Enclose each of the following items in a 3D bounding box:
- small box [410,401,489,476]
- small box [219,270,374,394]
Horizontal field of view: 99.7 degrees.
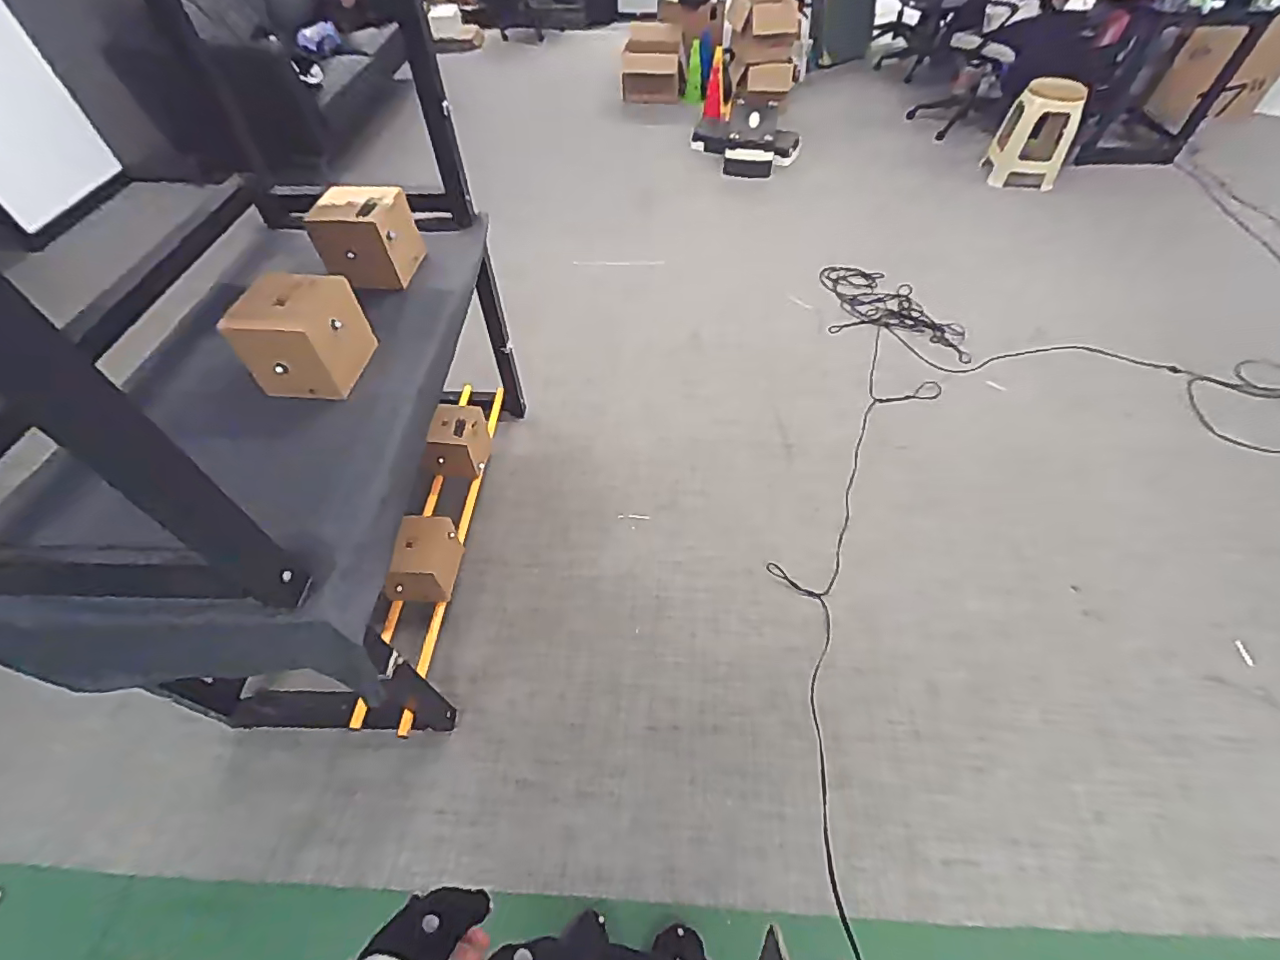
[{"bbox_3d":[-0.599,-0.129,1.728,0.179,0.176,0.168,4,52,3],"label":"small box"},{"bbox_3d":[-0.655,-0.287,1.061,0.168,0.176,0.179,4,52,3],"label":"small box"}]
